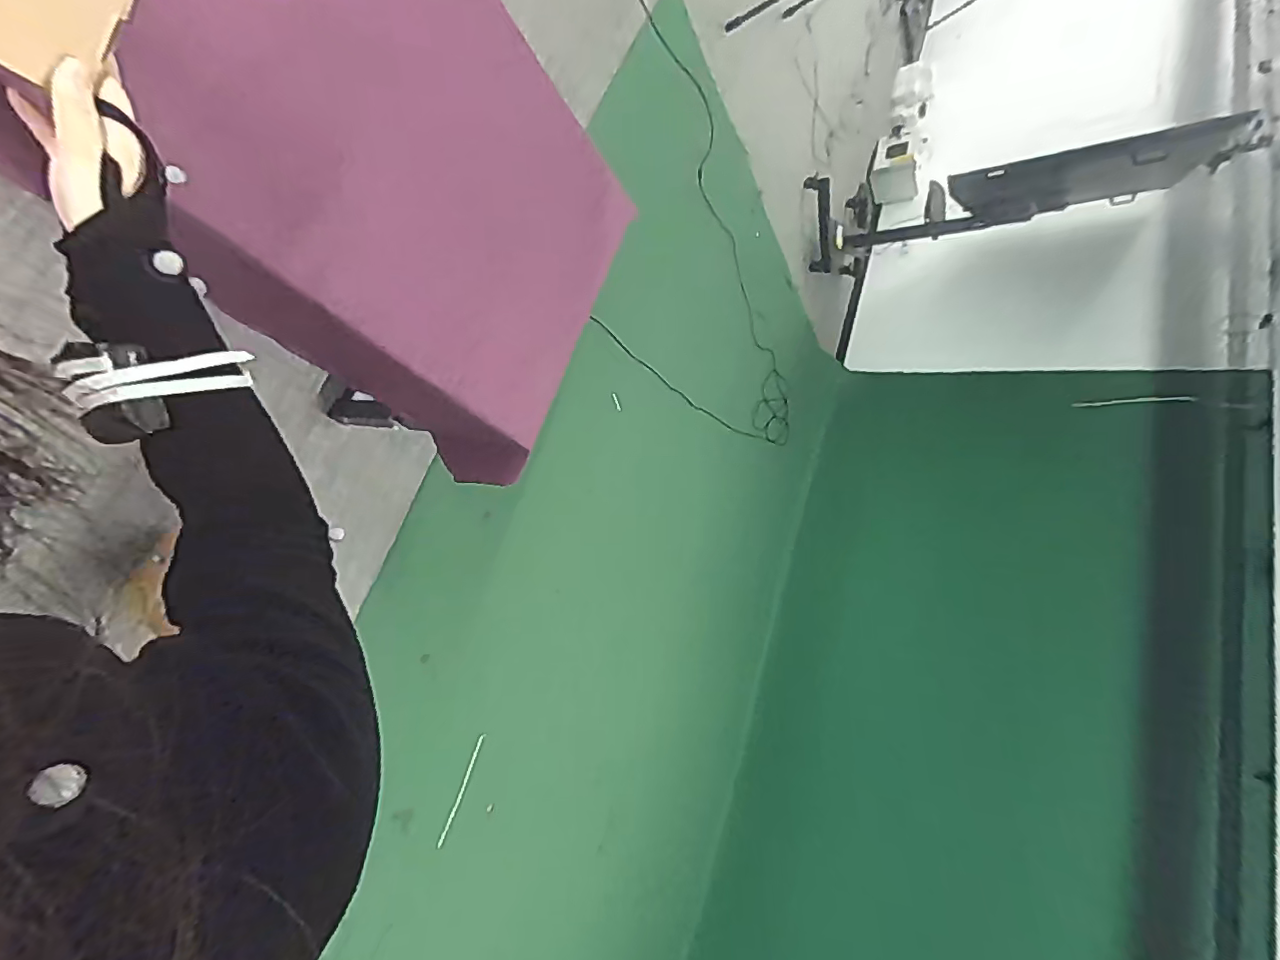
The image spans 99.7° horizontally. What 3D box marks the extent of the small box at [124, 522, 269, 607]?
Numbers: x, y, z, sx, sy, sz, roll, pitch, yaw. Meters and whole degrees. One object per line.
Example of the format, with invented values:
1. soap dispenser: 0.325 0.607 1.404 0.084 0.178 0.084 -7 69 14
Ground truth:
1. small box: -0.956 0.201 1.172 0.179 0.176 0.168 46 60 -49
